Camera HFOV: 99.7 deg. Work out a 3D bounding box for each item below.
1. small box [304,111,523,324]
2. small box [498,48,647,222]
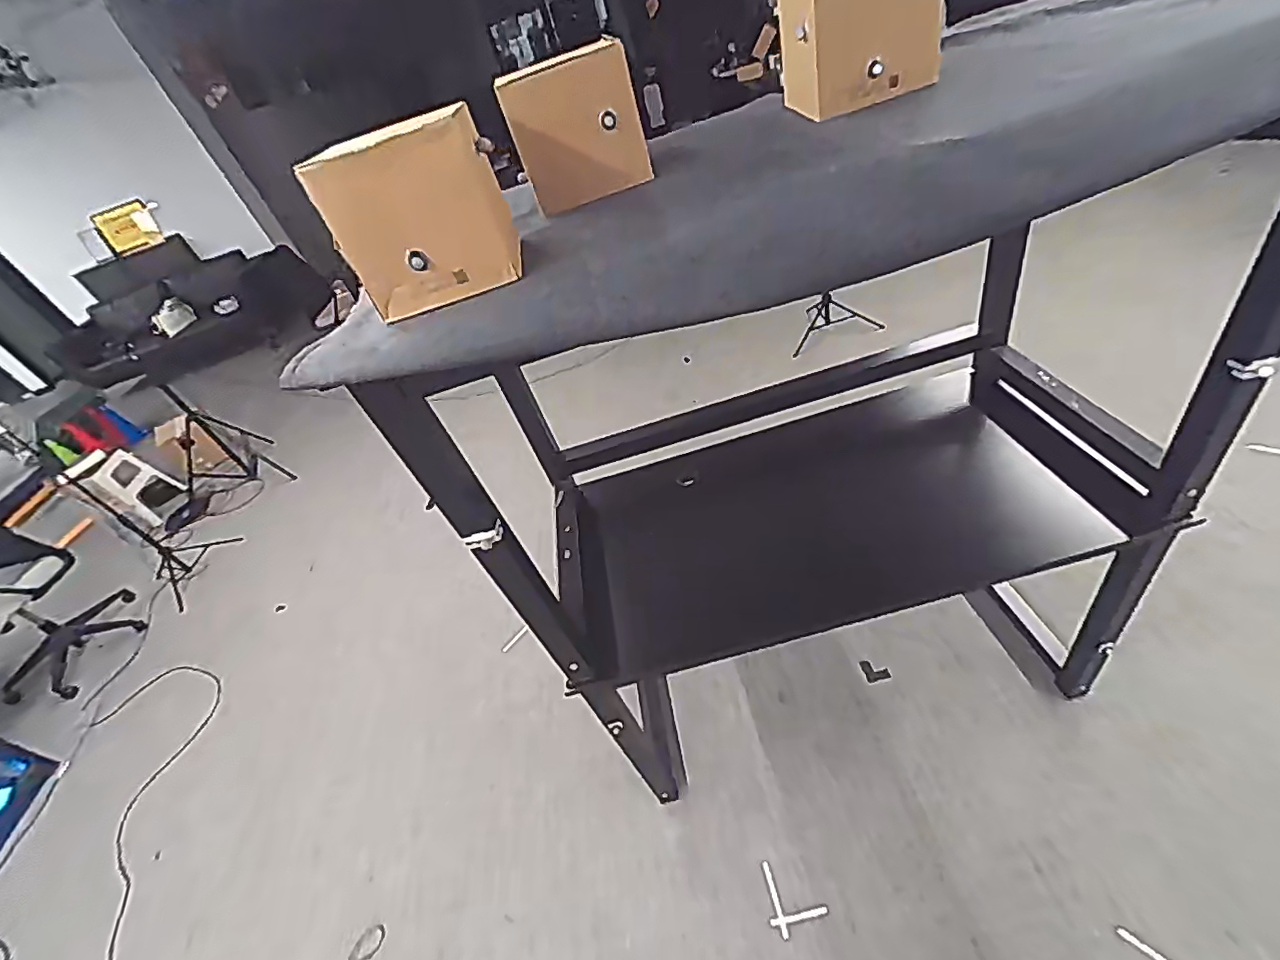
[{"bbox_3d":[-0.246,-0.309,0.640,0.168,0.176,0.179,-18,40,1],"label":"small box"},{"bbox_3d":[-0.096,-0.511,0.804,0.179,0.176,0.168,-18,40,1],"label":"small box"}]
